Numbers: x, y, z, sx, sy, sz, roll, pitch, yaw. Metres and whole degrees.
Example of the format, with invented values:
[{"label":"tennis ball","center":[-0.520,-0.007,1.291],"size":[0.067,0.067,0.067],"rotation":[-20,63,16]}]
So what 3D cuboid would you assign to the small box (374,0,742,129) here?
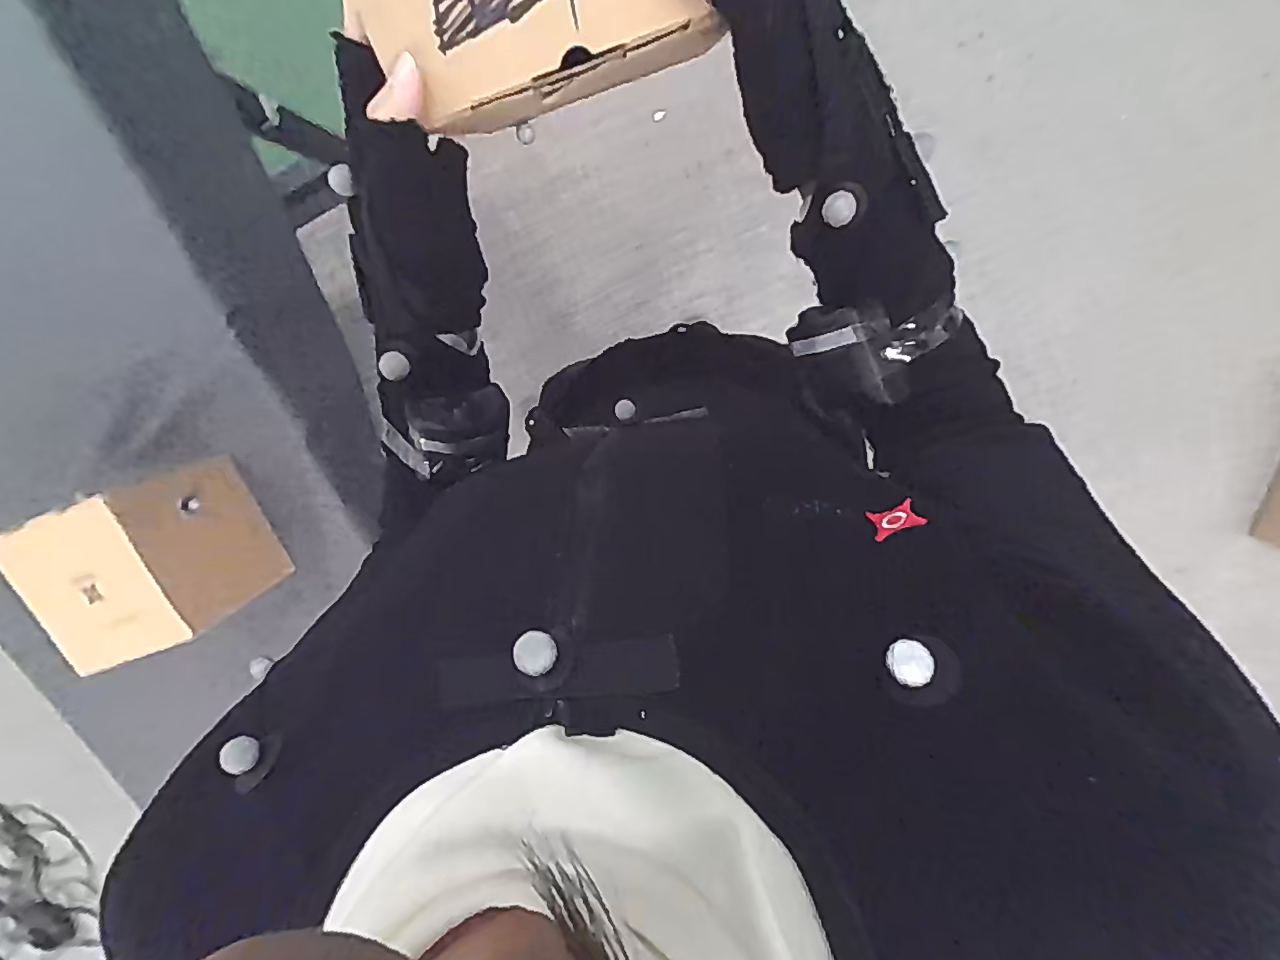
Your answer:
[{"label":"small box","center":[-0.051,-0.302,0.266],"size":[0.168,0.176,0.179],"rotation":[-17,122,10]}]

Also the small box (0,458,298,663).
[{"label":"small box","center":[-0.577,0.084,0.663],"size":[0.168,0.176,0.179],"rotation":[-20,105,11]}]
